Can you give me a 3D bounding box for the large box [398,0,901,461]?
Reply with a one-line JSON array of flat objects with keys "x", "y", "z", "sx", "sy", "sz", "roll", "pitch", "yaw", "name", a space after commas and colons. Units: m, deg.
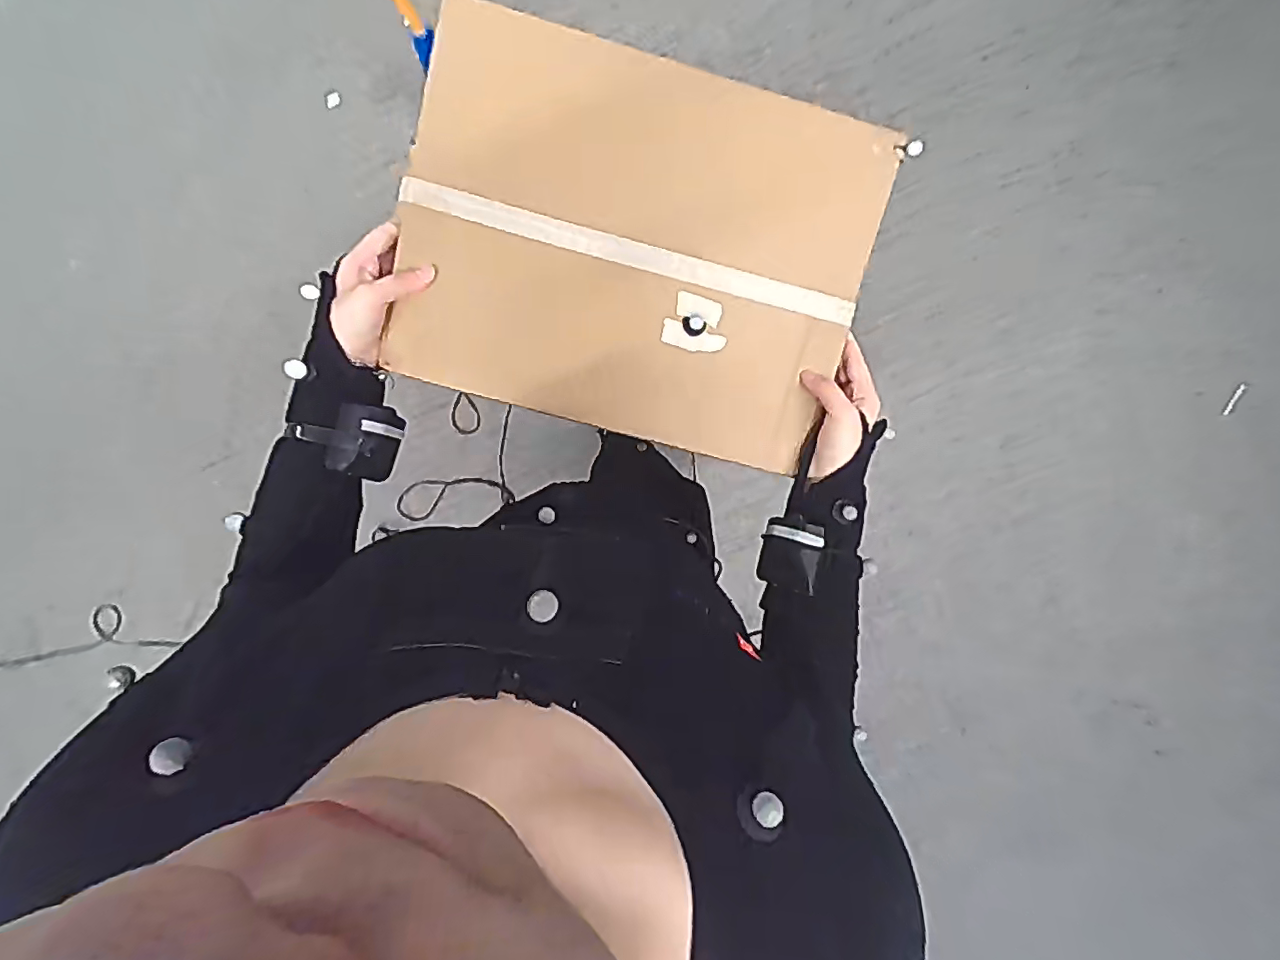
[{"x": -0.003, "y": -0.234, "z": 0.632, "sx": 0.408, "sy": 0.320, "sz": 0.320, "roll": 15, "pitch": 100, "yaw": -6, "name": "large box"}]
